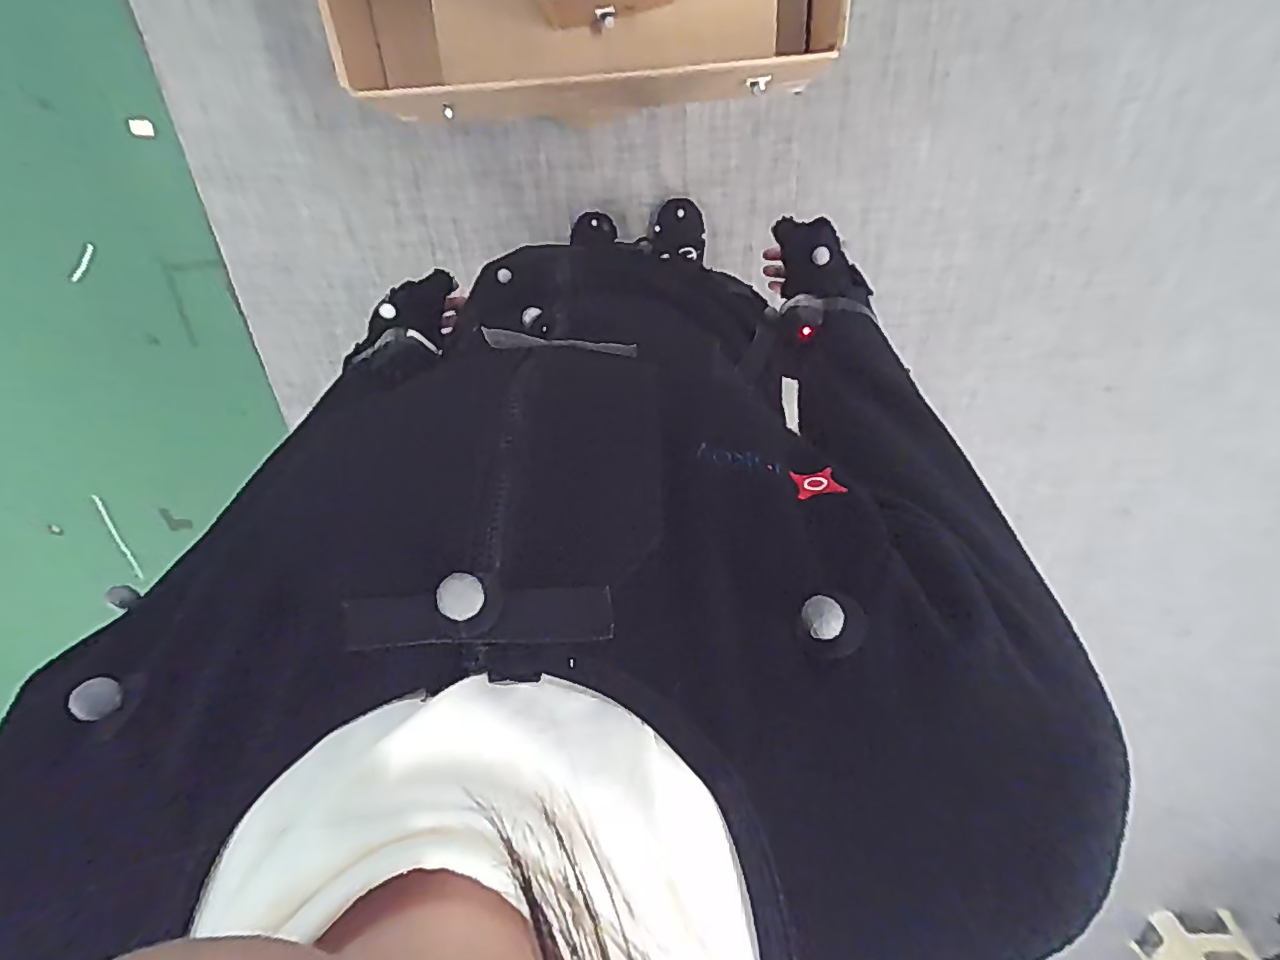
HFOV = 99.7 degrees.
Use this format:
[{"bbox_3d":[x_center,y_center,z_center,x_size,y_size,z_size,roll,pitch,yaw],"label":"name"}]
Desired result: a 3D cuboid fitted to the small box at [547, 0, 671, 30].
[{"bbox_3d":[-0.051,-0.671,0.630,0.168,0.176,0.179,-8,117,8],"label":"small box"}]
